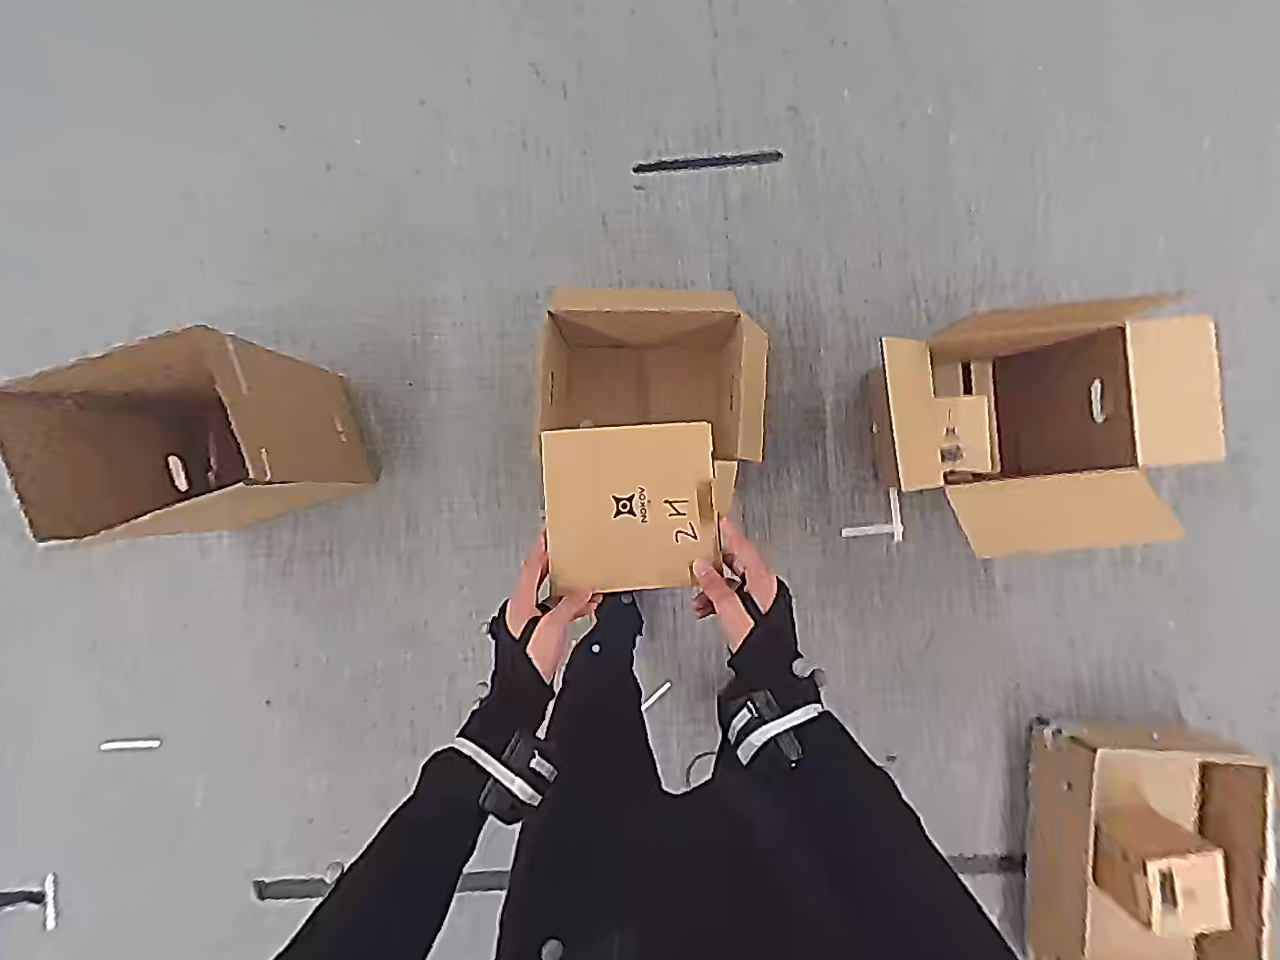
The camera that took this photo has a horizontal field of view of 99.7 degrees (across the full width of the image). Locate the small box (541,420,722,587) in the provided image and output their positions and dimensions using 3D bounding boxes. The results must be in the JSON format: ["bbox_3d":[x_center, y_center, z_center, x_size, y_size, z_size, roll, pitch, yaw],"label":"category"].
[{"bbox_3d":[-0.013,0.032,0.620,0.179,0.176,0.168,-3,84,-4],"label":"small box"}]
